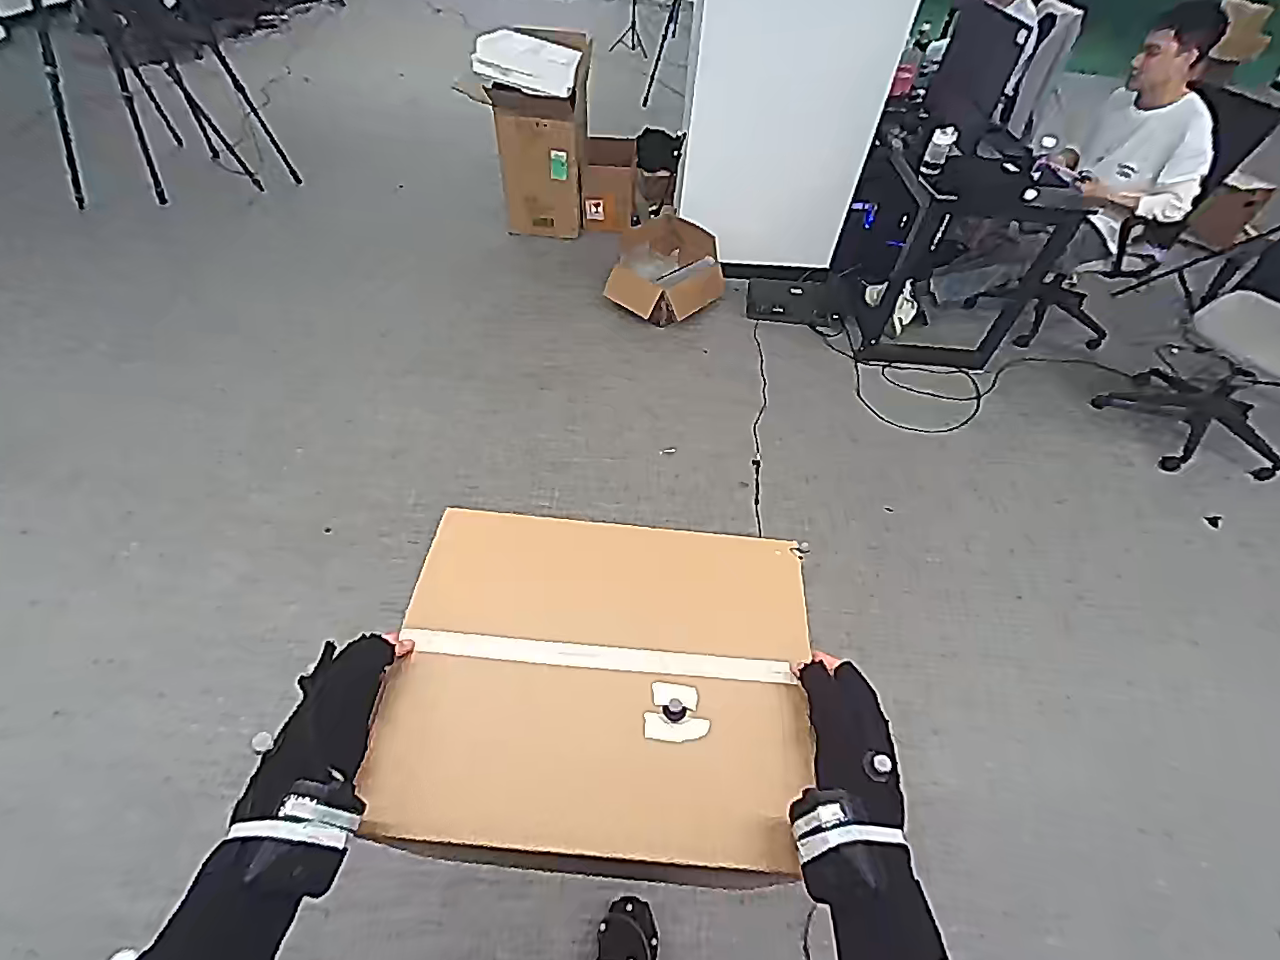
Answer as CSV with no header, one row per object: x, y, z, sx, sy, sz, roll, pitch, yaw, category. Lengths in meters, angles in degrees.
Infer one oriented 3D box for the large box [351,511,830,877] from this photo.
-0.043,0.264,0.647,0.408,0.320,0.320,6,52,-1,large box
